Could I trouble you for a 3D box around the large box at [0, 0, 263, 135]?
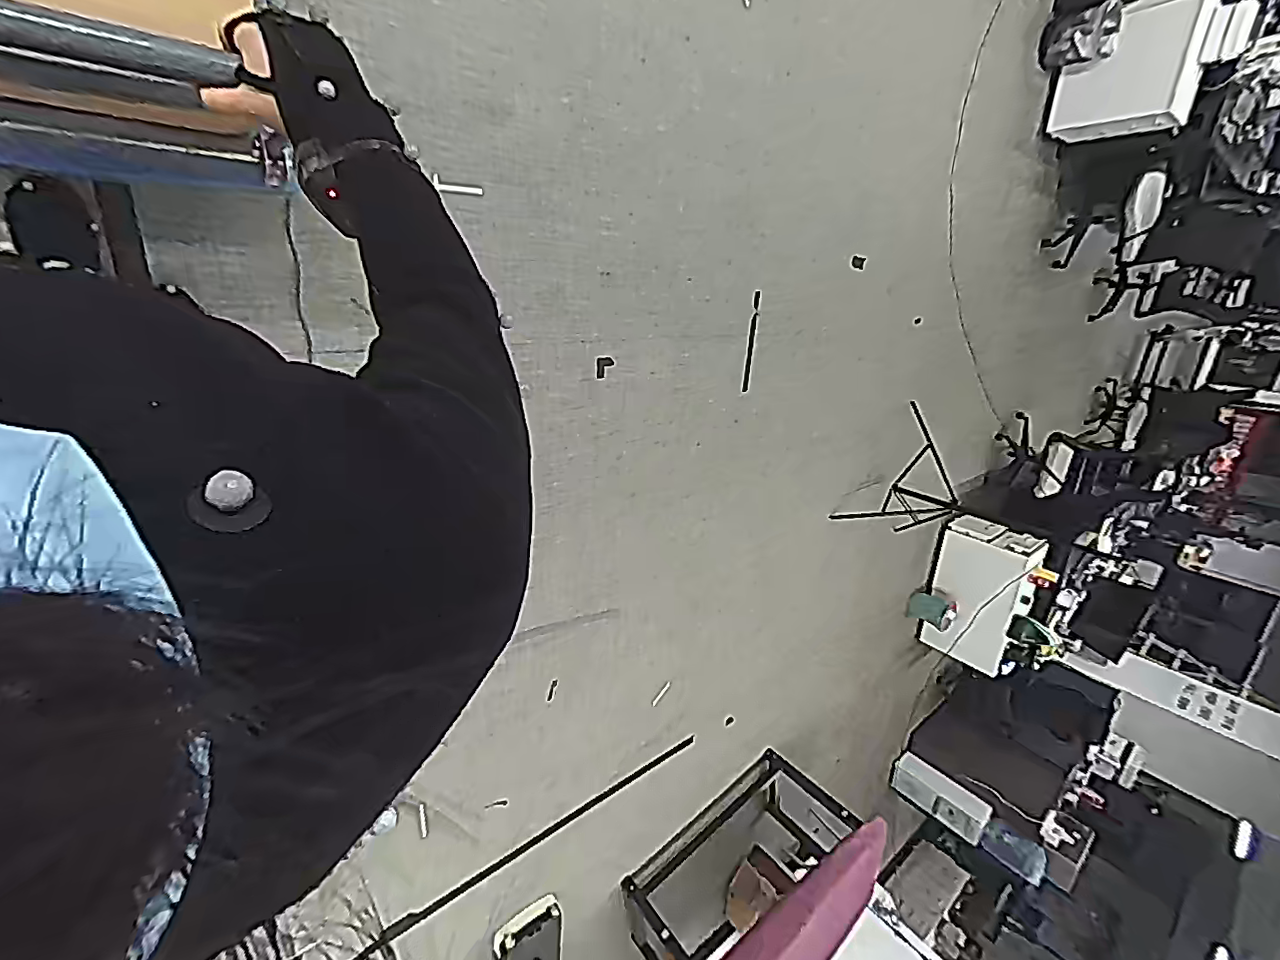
[{"bbox_3d":[-0.759,-0.667,0.674,0.408,0.320,0.320,-14,116,-38],"label":"large box"}]
